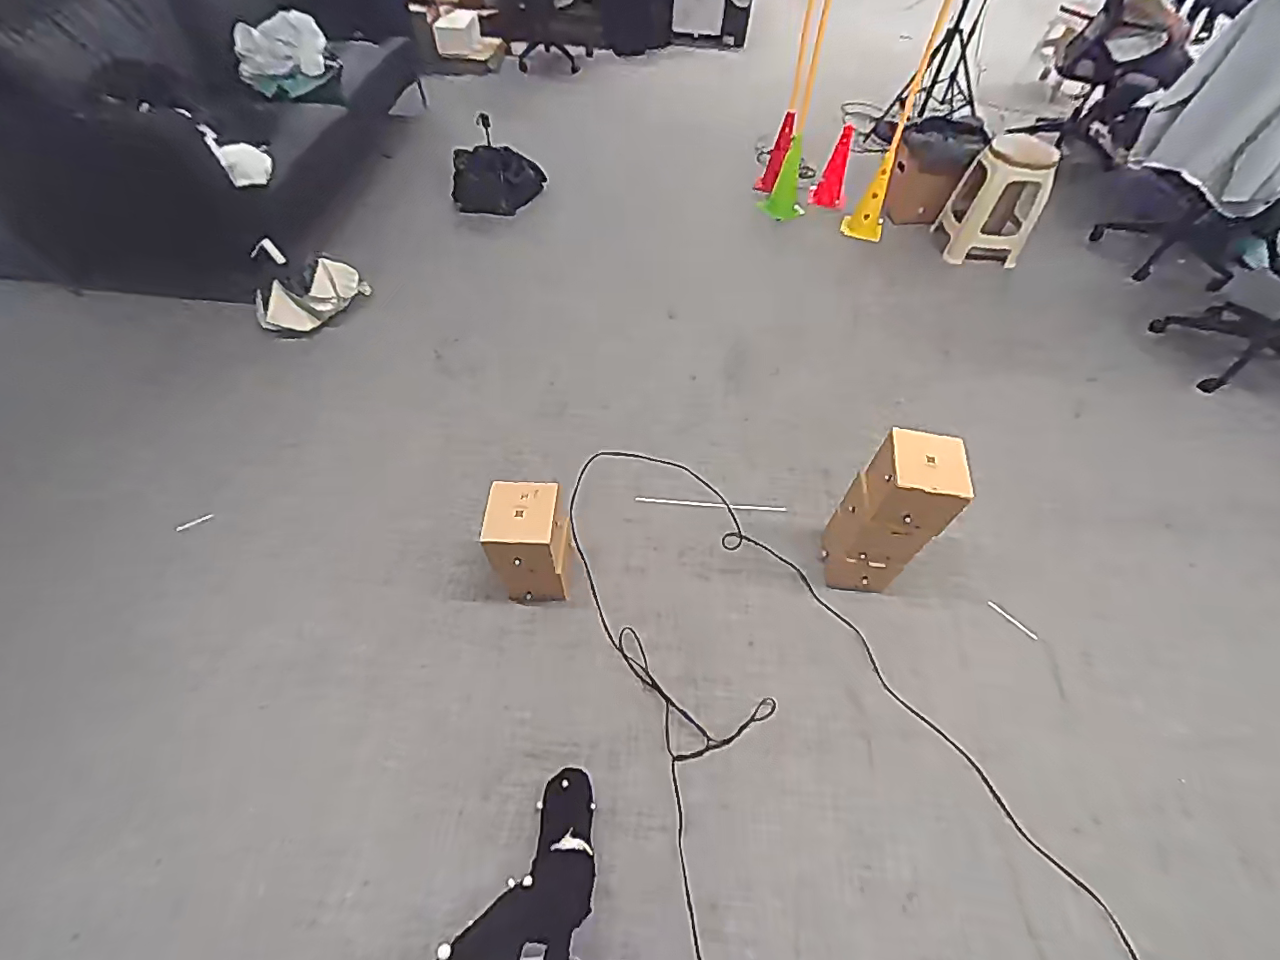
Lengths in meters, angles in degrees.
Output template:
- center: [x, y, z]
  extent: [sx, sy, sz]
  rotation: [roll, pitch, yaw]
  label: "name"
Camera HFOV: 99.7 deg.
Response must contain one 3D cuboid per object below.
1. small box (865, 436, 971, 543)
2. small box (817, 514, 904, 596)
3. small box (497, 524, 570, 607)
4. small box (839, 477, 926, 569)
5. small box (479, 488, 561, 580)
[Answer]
- center: [0.651, 0.025, 1.290]
  extent: [0.168, 0.176, 0.179]
  rotation: [11, 55, 5]
  label: "small box"
- center: [0.626, 0.220, 1.555]
  extent: [0.168, 0.176, 0.179]
  rotation: [5, 55, -2]
  label: "small box"
- center: [-0.288, 0.235, 1.502]
  extent: [0.168, 0.176, 0.179]
  rotation: [2, 54, 0]
  label: "small box"
- center: [0.637, 0.118, 1.423]
  extent: [0.168, 0.176, 0.179]
  rotation: [6, 53, 2]
  label: "small box"
- center: [-0.294, 0.140, 1.368]
  extent: [0.168, 0.176, 0.179]
  rotation: [2, 54, -1]
  label: "small box"
